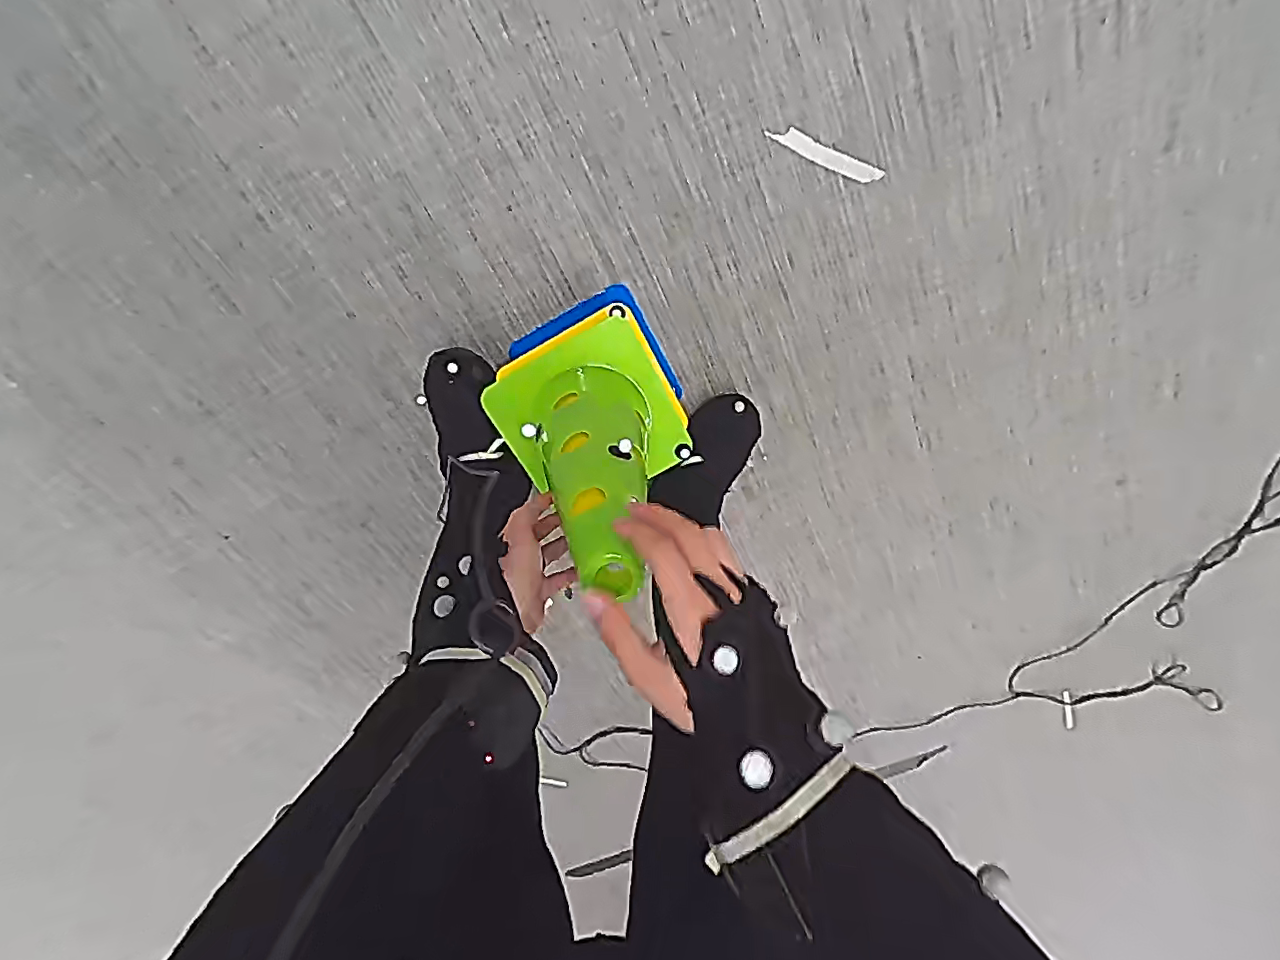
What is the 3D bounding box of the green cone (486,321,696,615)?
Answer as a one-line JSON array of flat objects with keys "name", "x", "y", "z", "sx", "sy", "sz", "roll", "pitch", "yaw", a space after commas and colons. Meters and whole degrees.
[{"name": "green cone", "x": -0.037, "y": -0.002, "z": 0.497, "sx": 0.202, "sy": 0.368, "sz": 0.200, "roll": -29, "pitch": 111, "yaw": 6}]
